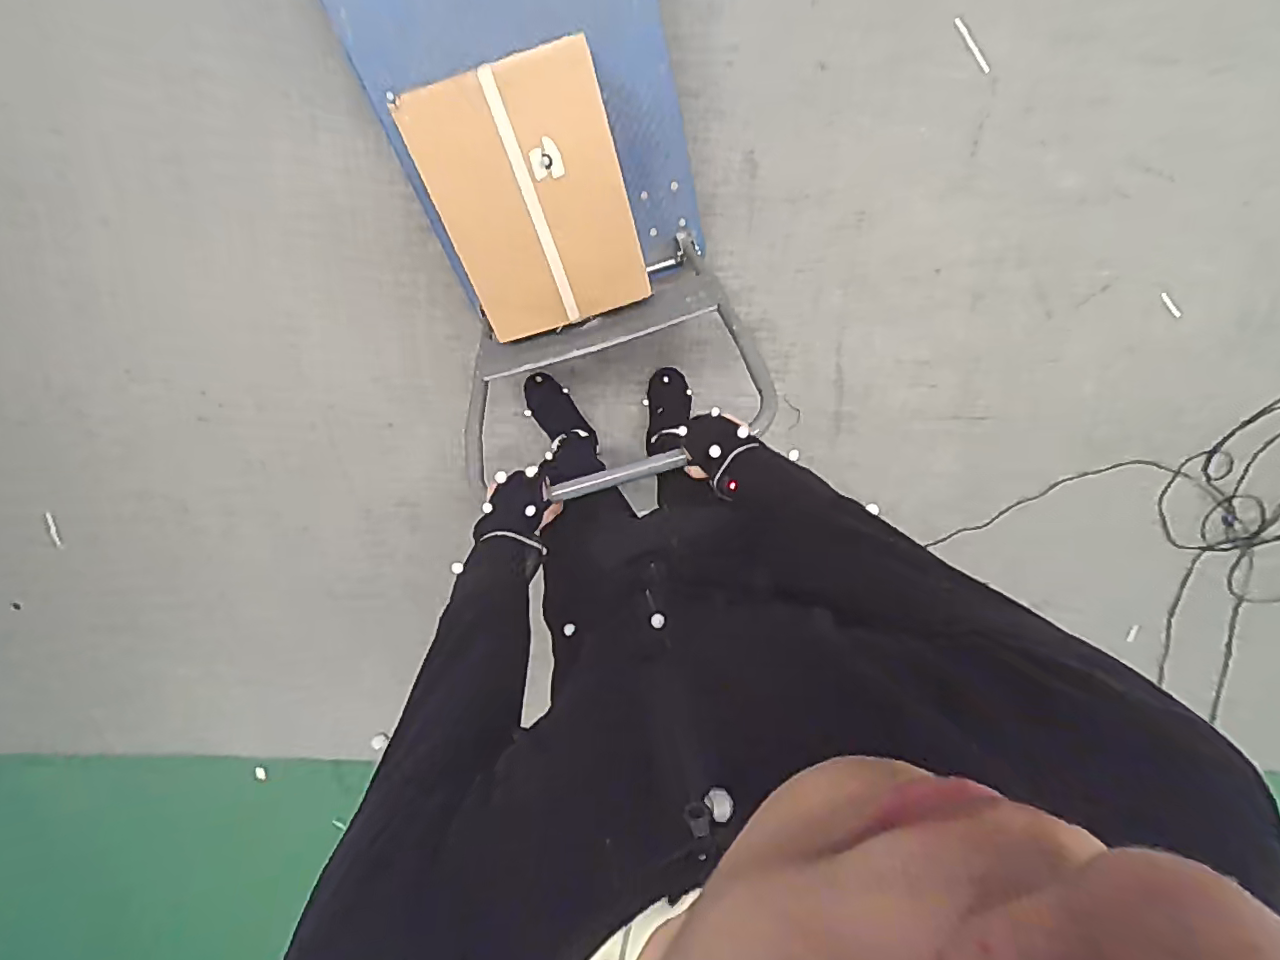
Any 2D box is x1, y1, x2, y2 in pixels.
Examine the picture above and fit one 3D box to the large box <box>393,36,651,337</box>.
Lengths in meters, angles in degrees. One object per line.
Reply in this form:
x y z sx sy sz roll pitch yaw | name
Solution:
-0.192 -0.556 1.048 0.320 0.320 0.408 -17 127 4 | large box
